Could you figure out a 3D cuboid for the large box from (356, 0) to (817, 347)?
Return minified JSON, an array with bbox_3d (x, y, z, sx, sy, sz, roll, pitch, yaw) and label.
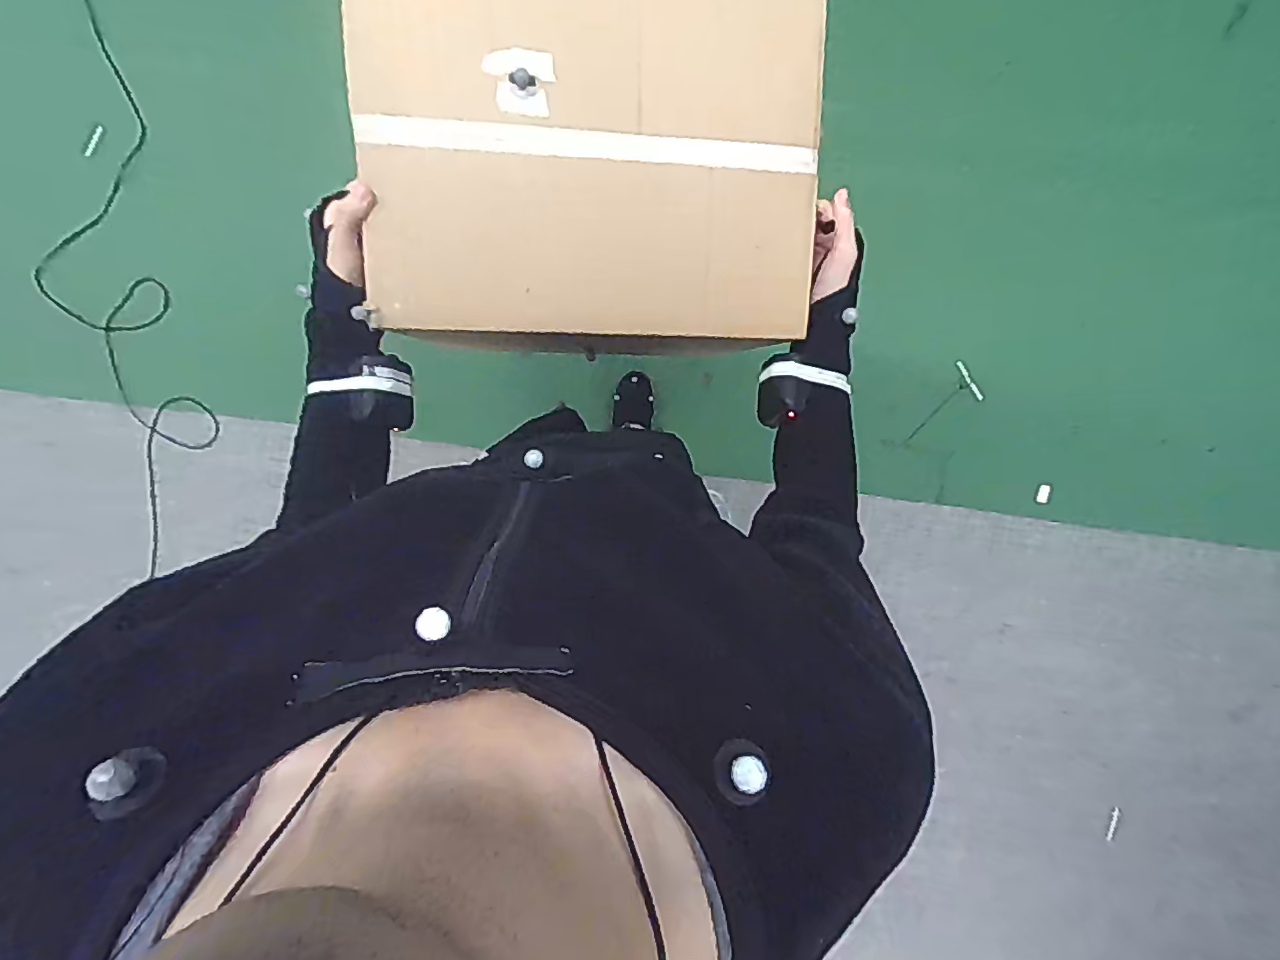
[{"bbox_3d":[-0.055,-0.320,0.631,0.408,0.320,0.320,0,100,-8],"label":"large box"}]
